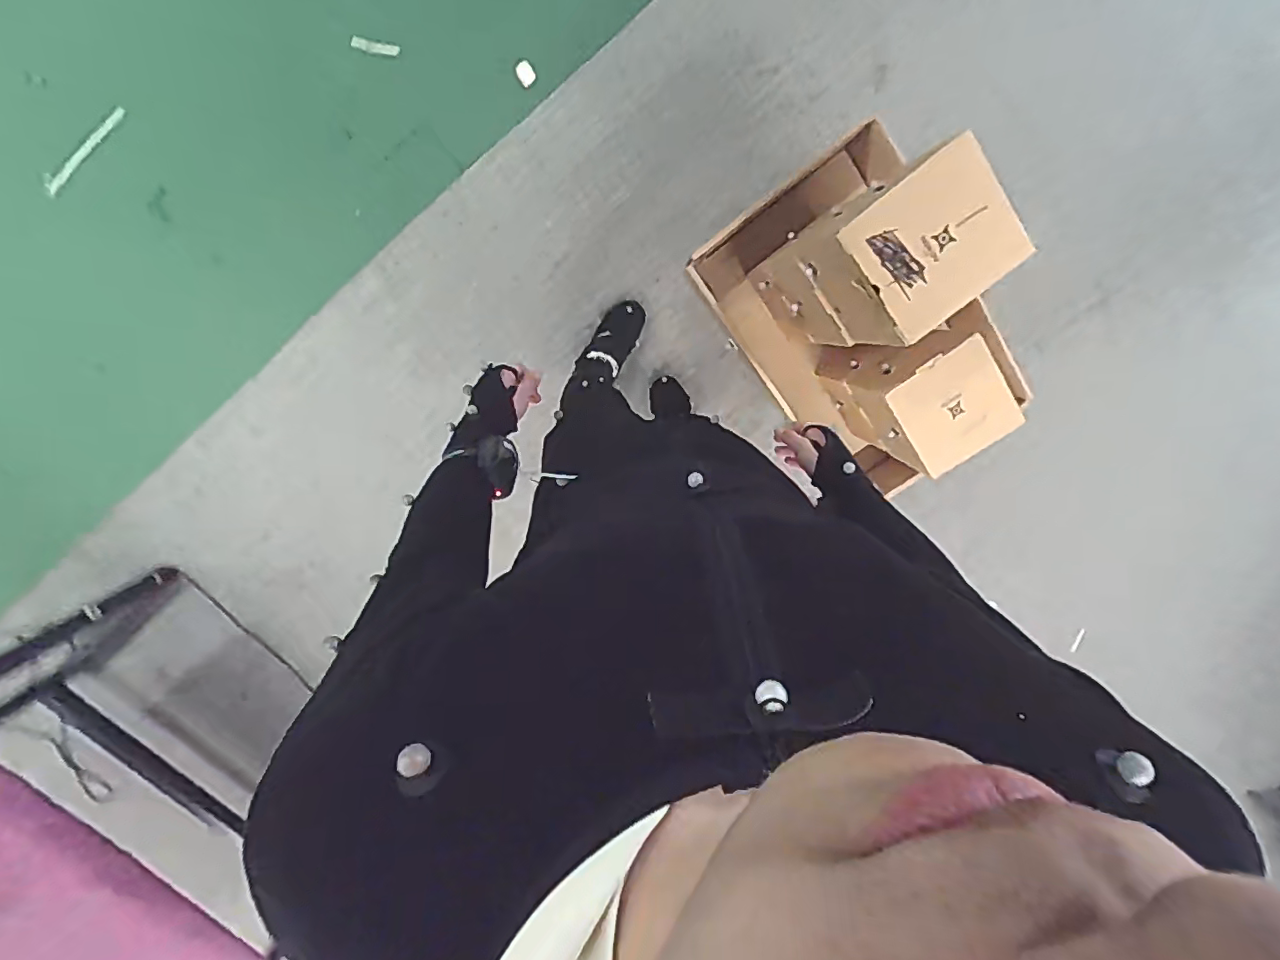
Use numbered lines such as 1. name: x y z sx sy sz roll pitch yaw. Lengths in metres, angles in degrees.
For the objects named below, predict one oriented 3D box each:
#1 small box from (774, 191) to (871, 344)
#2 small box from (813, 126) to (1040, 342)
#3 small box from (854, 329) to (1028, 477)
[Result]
1. small box: 0.340 -0.337 0.856 0.179 0.176 0.168 -36 104 9
2. small box: 0.346 -0.297 0.696 0.179 0.176 0.168 -37 104 9
3. small box: 0.496 -0.137 0.919 0.168 0.176 0.179 -34 105 10
